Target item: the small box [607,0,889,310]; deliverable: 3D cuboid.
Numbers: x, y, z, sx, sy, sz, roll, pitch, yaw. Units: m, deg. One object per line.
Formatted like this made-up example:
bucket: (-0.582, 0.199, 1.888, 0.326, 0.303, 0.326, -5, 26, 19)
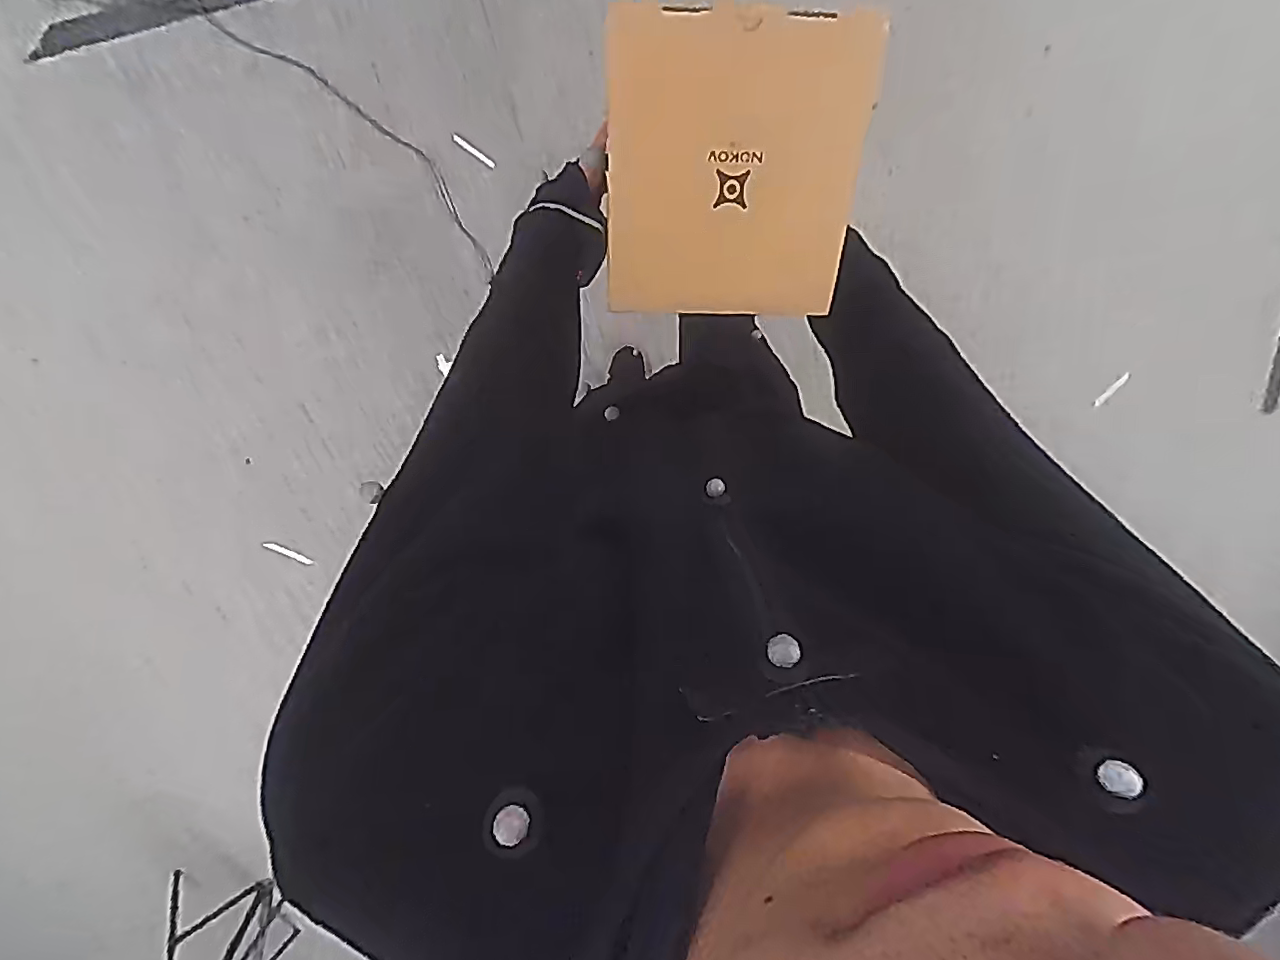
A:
small box: (0.060, -0.242, 0.420, 0.168, 0.176, 0.179, 0, 121, -2)
